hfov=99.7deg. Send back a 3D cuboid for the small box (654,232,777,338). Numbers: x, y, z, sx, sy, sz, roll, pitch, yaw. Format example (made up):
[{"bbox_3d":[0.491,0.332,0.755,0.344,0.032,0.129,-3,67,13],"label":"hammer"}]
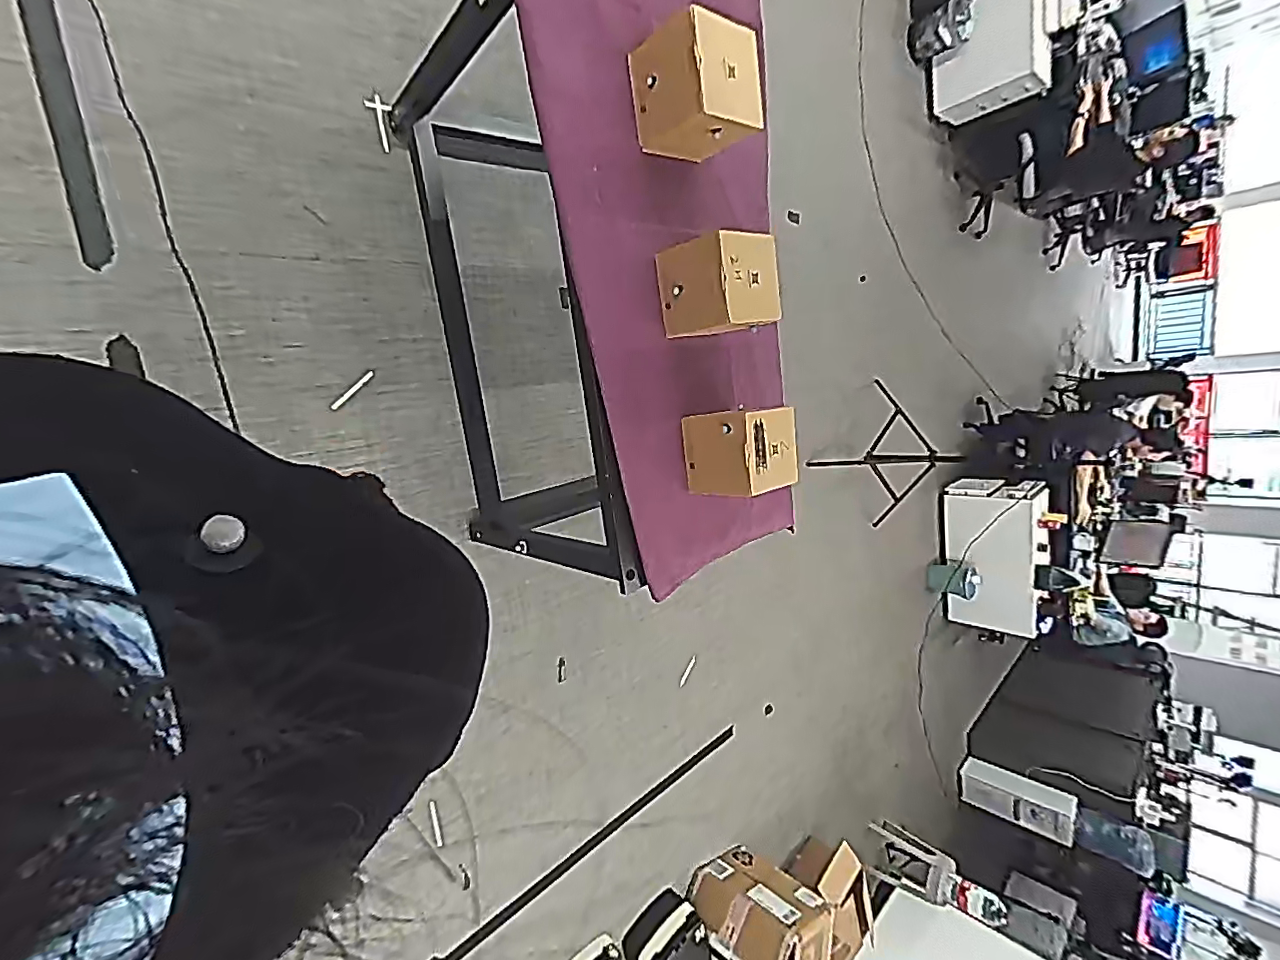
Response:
[{"bbox_3d":[0.152,-0.385,1.090,0.179,0.176,0.168,-17,104,-40],"label":"small box"}]

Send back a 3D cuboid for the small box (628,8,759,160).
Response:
[{"bbox_3d":[0.102,-0.729,1.022,0.179,0.176,0.168,-18,106,-39],"label":"small box"}]
